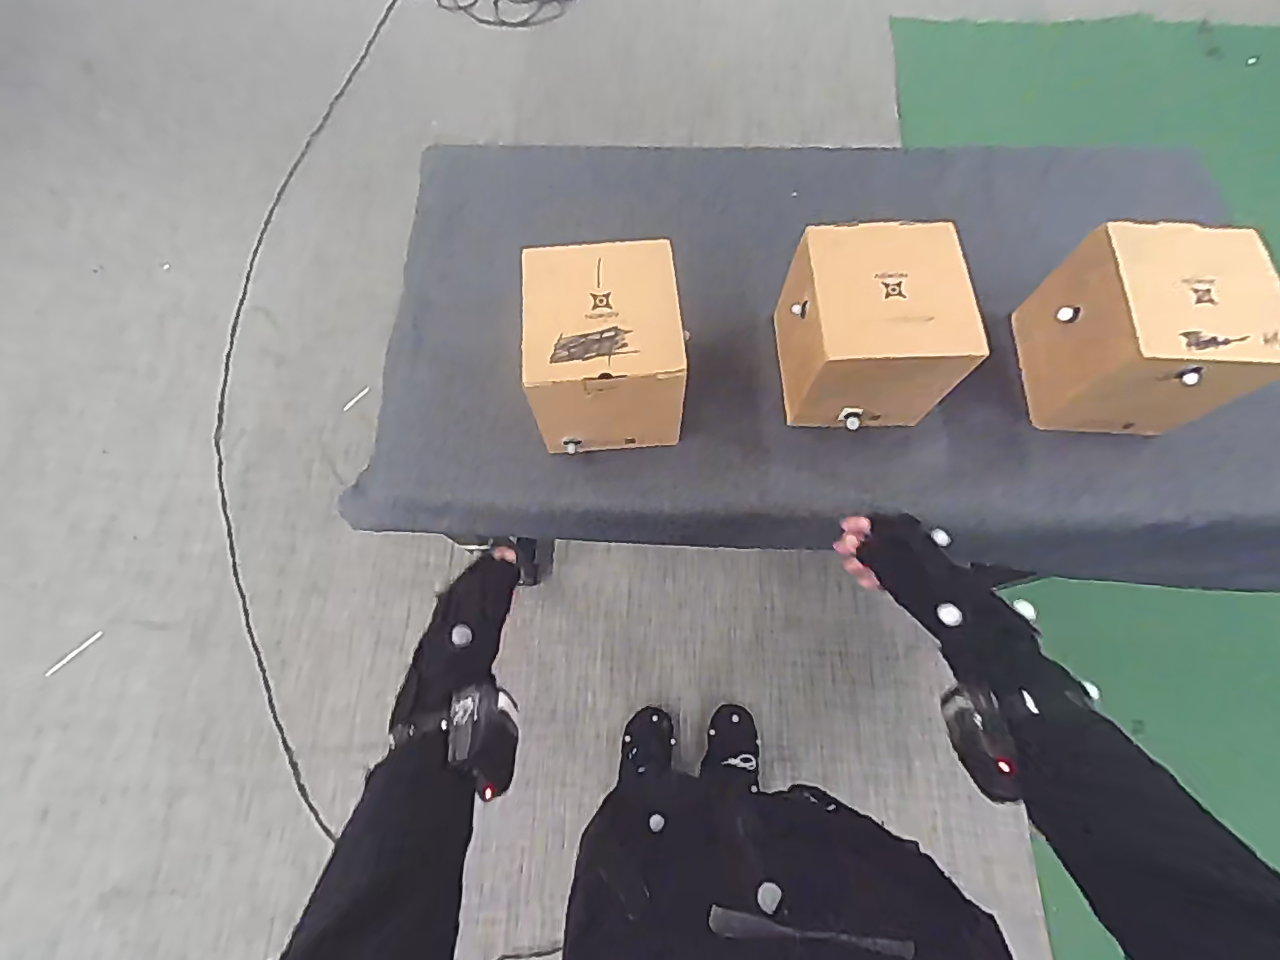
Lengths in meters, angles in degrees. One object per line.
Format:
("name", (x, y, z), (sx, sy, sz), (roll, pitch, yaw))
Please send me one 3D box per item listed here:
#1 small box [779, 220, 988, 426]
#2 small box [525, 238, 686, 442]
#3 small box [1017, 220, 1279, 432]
("small box", (0.272, -0.180, 0.652), (0.168, 0.176, 0.179), (-2, 71, 1))
("small box", (-0.037, -0.153, 0.643), (0.168, 0.176, 0.179), (-4, 68, -1))
("small box", (0.588, -0.175, 0.642), (0.168, 0.176, 0.179), (3, 70, 3))
